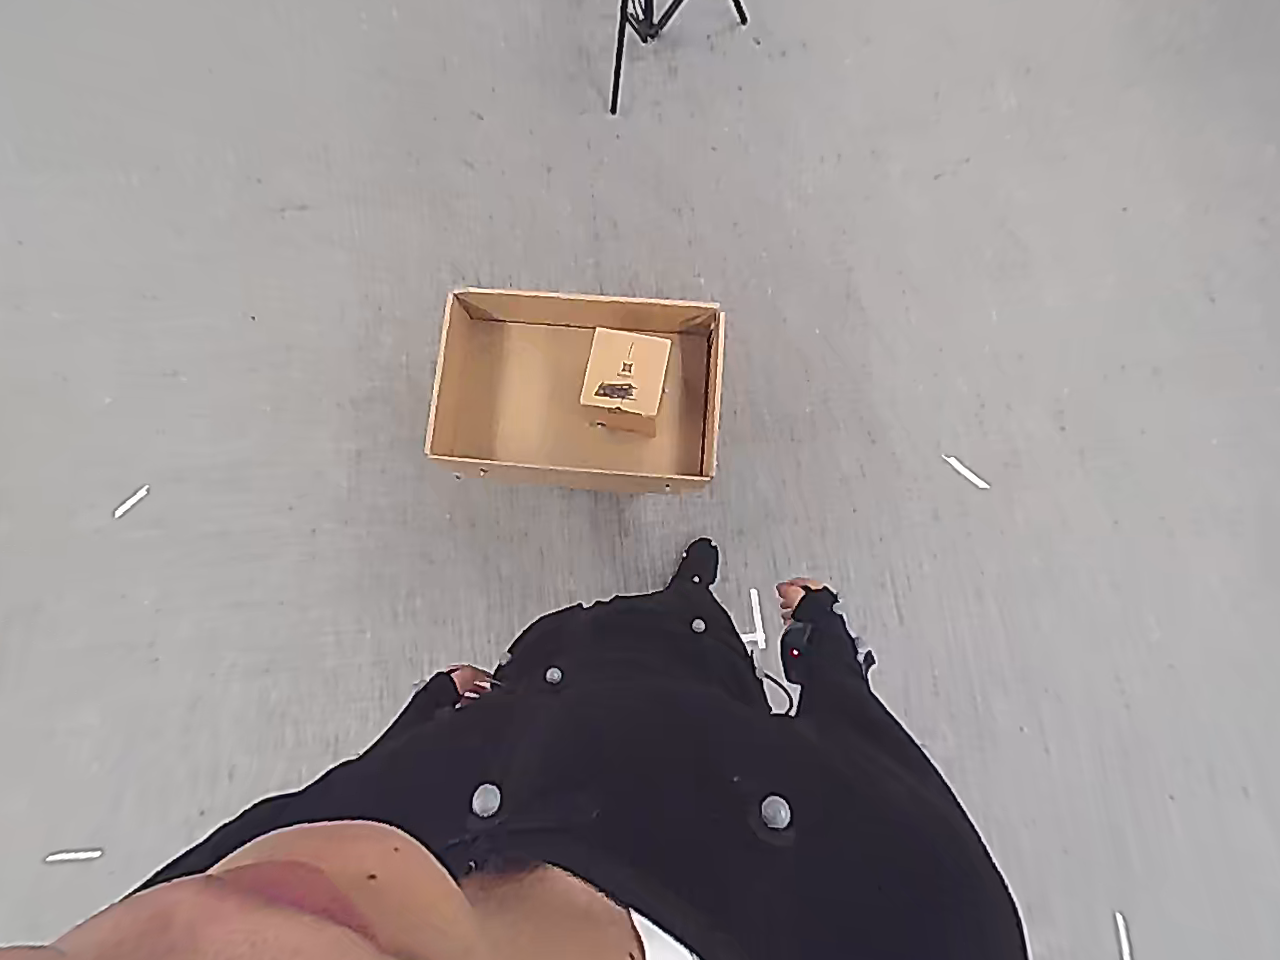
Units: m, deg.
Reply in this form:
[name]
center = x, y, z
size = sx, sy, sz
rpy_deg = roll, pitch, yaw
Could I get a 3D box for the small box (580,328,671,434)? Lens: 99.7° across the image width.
[small box]
center = -0.027, -0.213, 1.211
size = 0.168, 0.176, 0.179
rpy_deg = 11, 81, 3
